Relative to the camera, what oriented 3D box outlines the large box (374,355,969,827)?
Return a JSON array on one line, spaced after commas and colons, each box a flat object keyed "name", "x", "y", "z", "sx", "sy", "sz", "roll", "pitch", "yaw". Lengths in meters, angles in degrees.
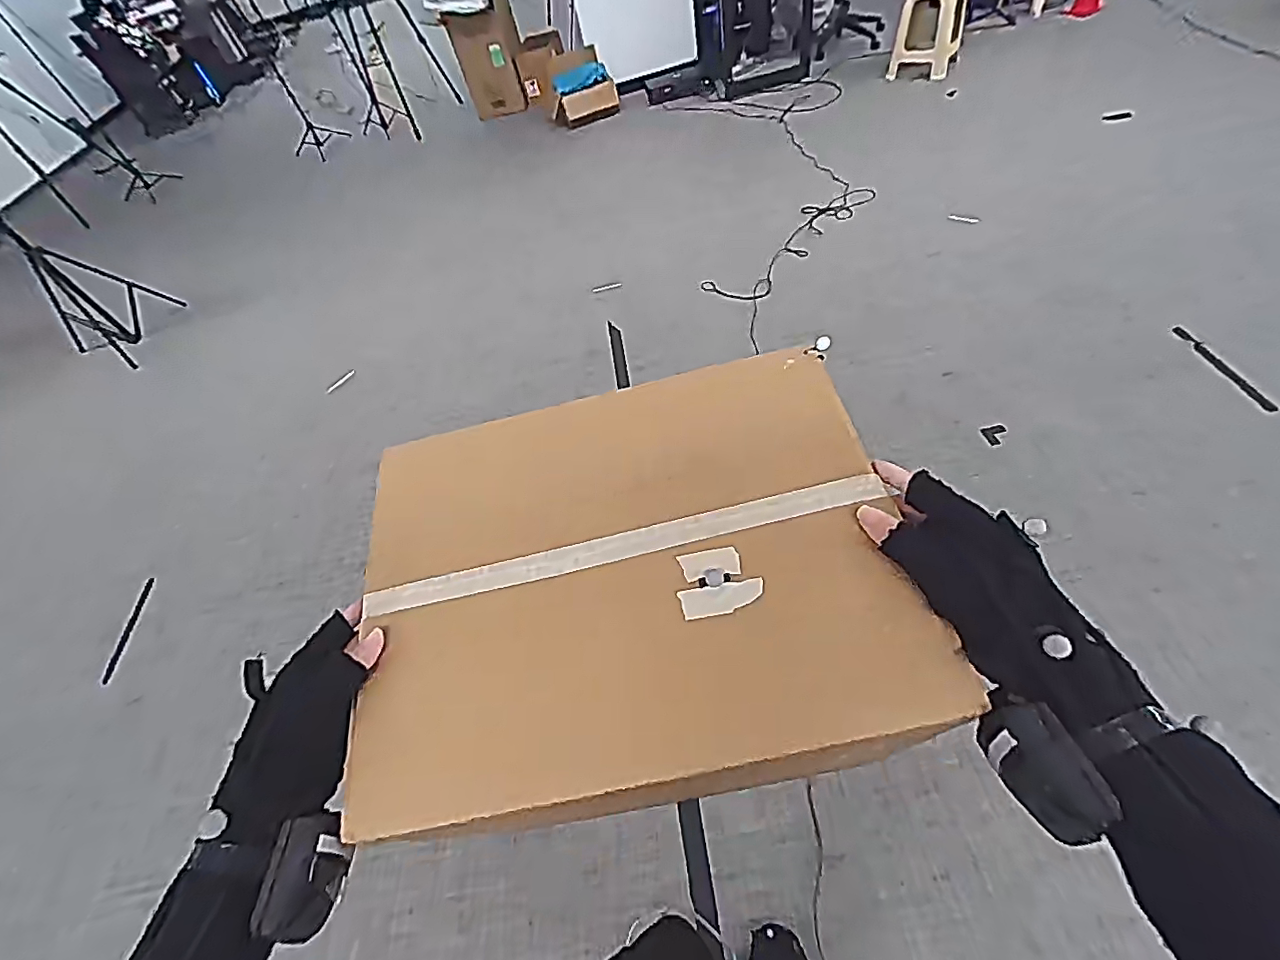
[{"name": "large box", "x": 0.014, "y": 0.133, "z": 0.550, "sx": 0.408, "sy": 0.320, "sz": 0.320, "roll": -13, "pitch": 57, "yaw": 3}]
